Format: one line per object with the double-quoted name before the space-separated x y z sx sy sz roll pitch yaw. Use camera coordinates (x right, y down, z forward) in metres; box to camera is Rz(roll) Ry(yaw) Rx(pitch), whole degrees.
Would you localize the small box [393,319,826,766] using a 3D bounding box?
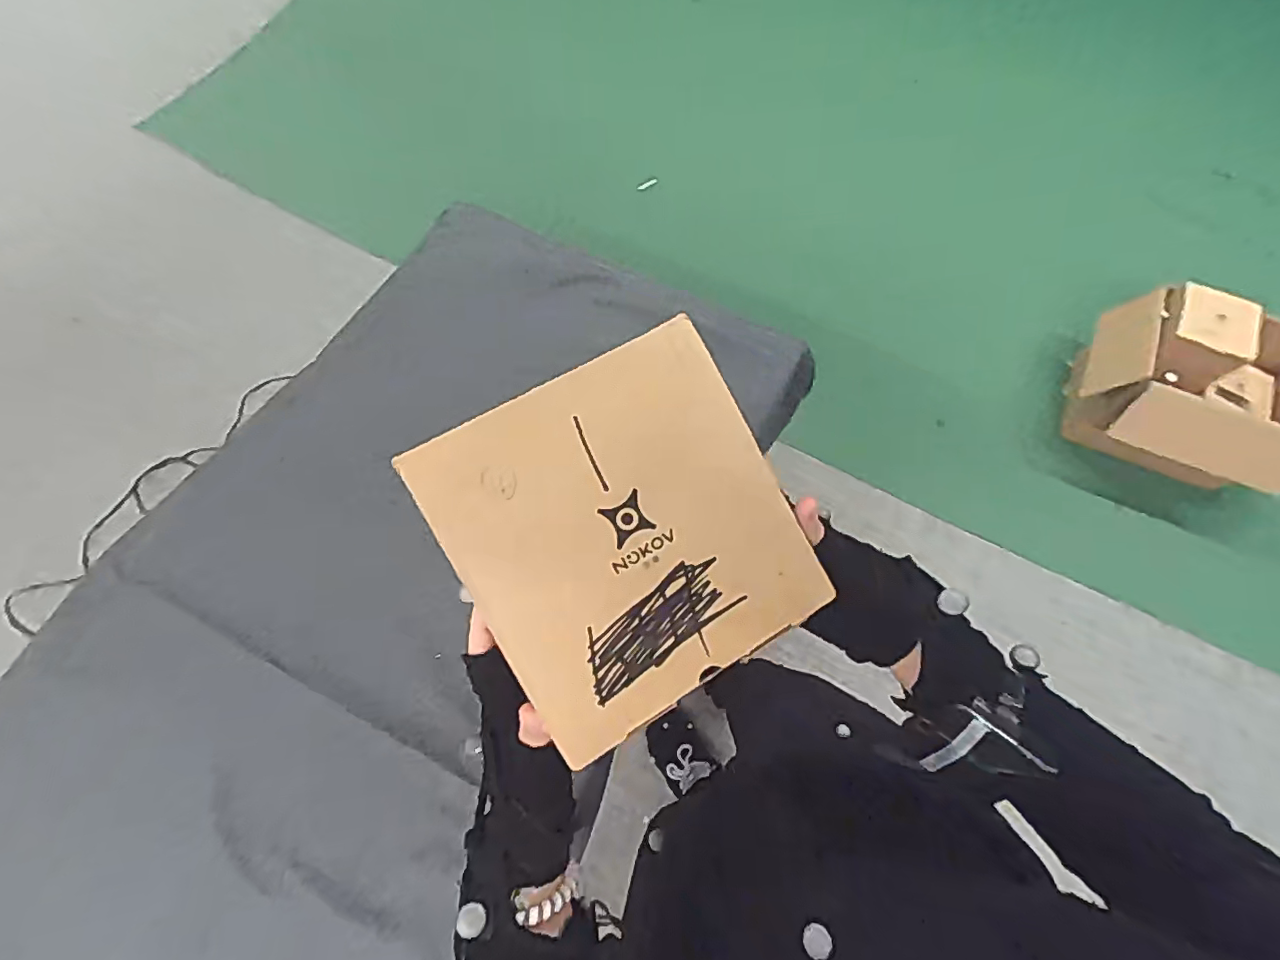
"small box" -0.023 0.030 0.349 0.168 0.176 0.179 -29 94 -12
